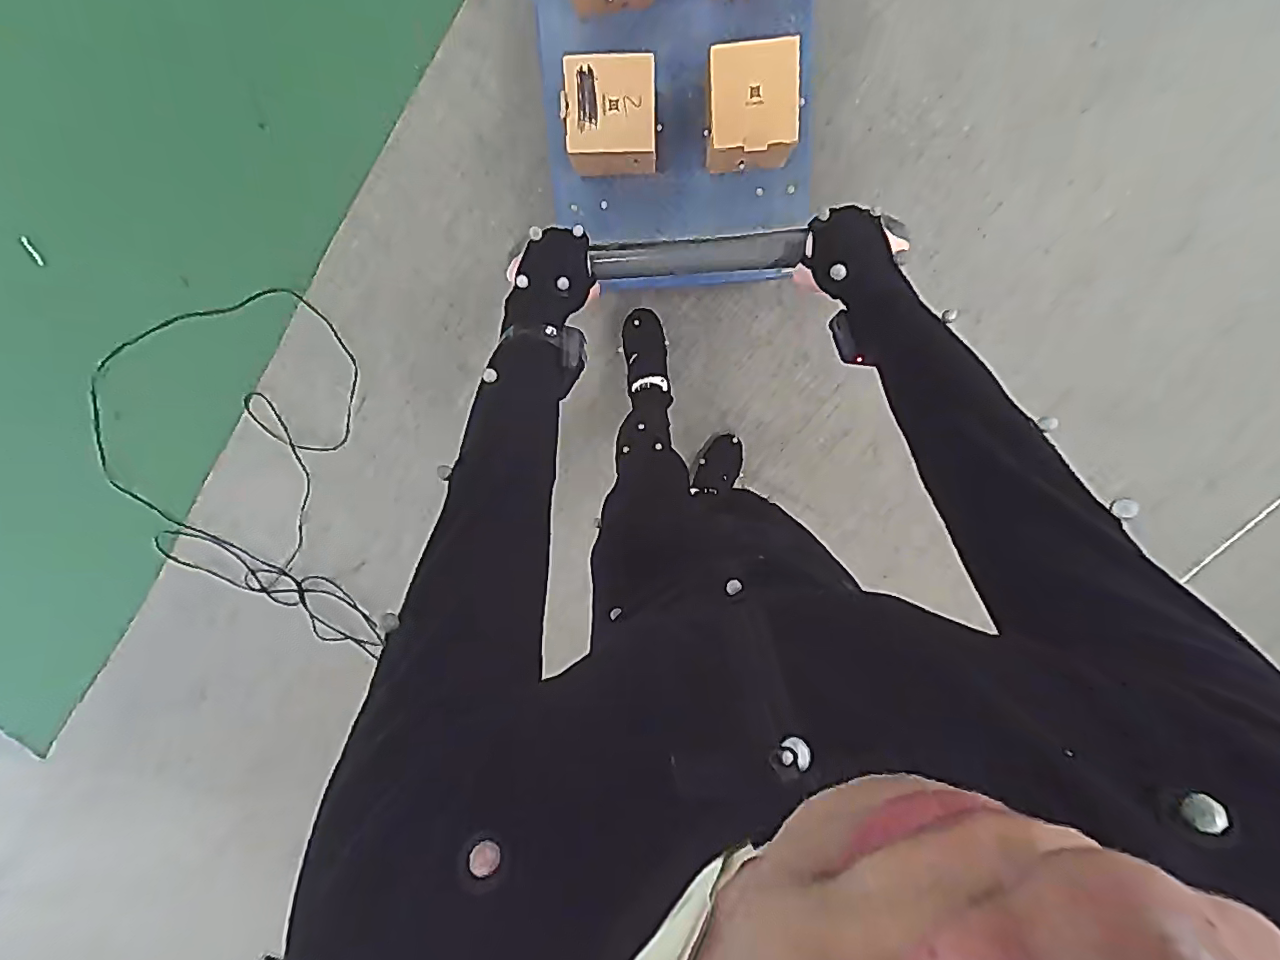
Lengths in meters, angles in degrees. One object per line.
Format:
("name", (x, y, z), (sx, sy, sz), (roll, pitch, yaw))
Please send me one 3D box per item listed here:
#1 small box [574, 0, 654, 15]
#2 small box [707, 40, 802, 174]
("small box", (-0.062, -1.029, 1.026), (0.168, 0.176, 0.179), (-7, 106, 4))
("small box", (0.225, -0.745, 1.096), (0.168, 0.176, 0.179), (-3, 107, 4))
